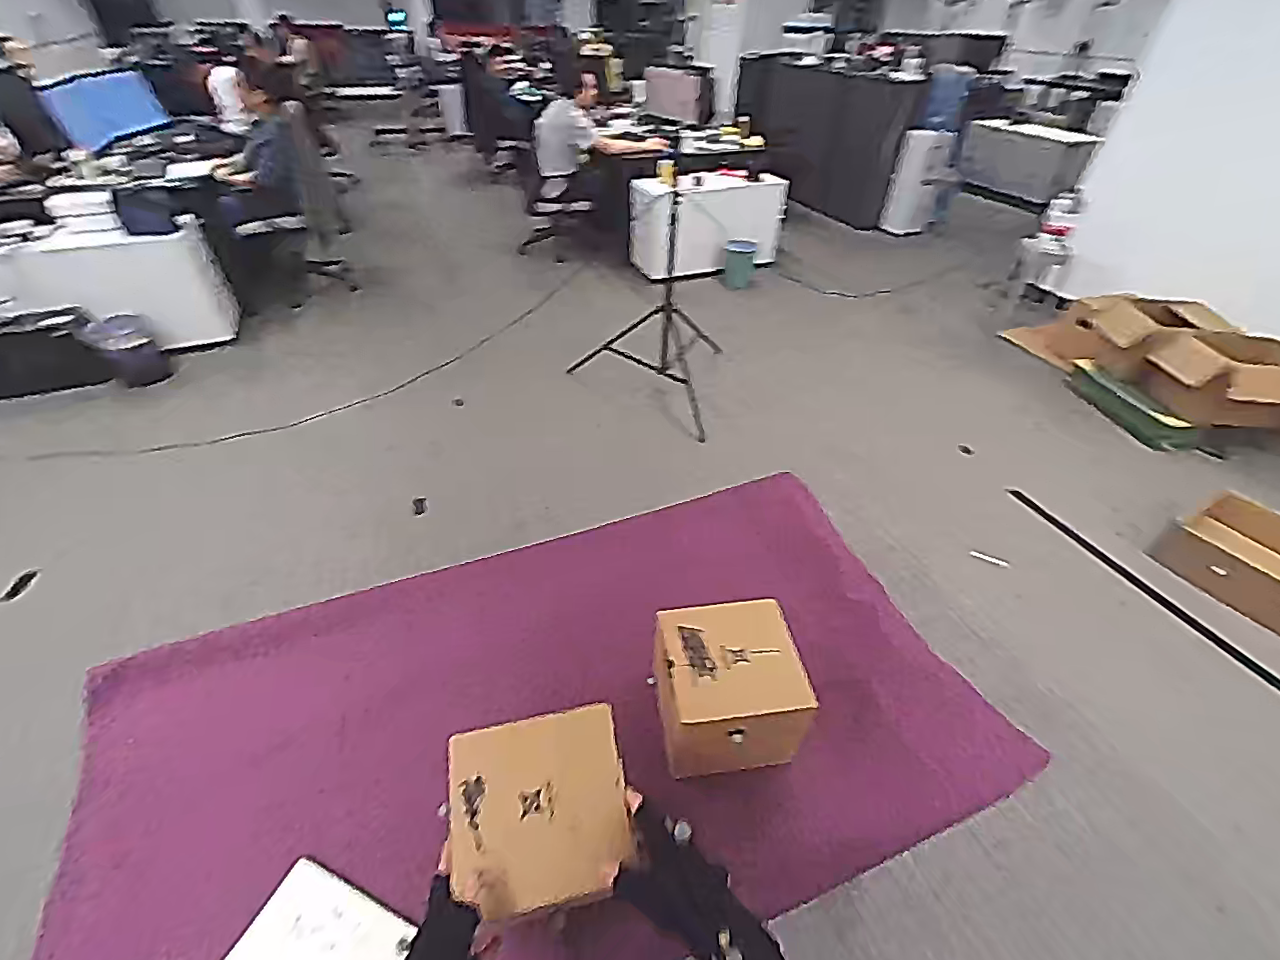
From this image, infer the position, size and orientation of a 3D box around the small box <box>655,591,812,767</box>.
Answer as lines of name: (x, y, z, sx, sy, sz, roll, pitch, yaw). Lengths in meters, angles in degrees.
small box: (0.117, 0.282, 0.766, 0.179, 0.176, 0.168, -5, 40, -7)

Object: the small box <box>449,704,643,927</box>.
small box: (-0.104, 0.367, 0.593, 0.179, 0.176, 0.168, -5, 50, -12)
